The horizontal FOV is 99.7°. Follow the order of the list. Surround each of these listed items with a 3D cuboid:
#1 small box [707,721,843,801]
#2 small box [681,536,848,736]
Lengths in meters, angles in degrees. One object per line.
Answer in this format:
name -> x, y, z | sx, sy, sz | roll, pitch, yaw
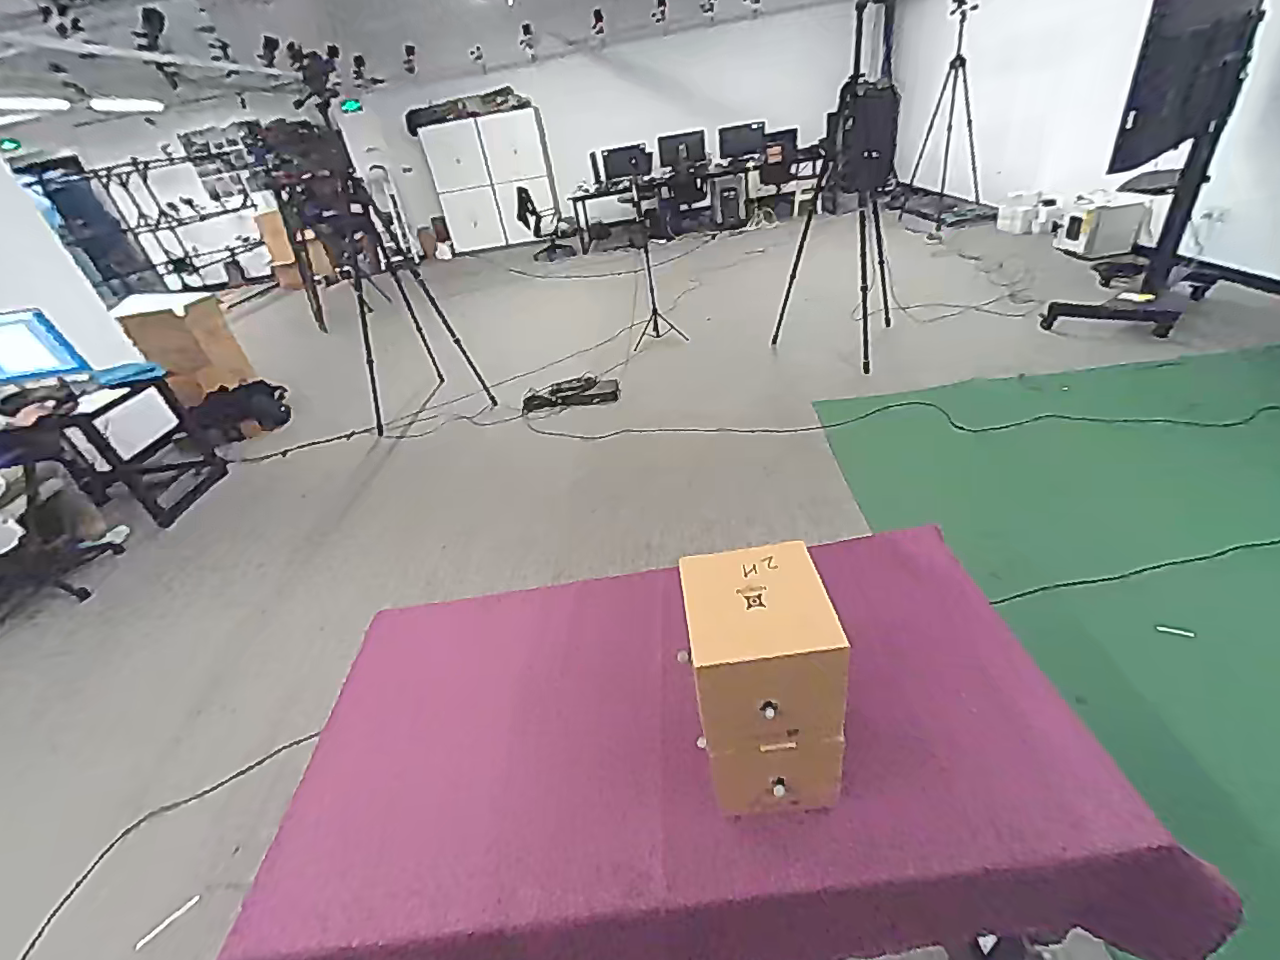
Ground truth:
small box -> 0.179, 0.334, 0.773 | 0.168, 0.176, 0.179 | -8, 35, 3
small box -> 0.150, 0.199, 0.680 | 0.168, 0.176, 0.179 | -9, 34, 3
